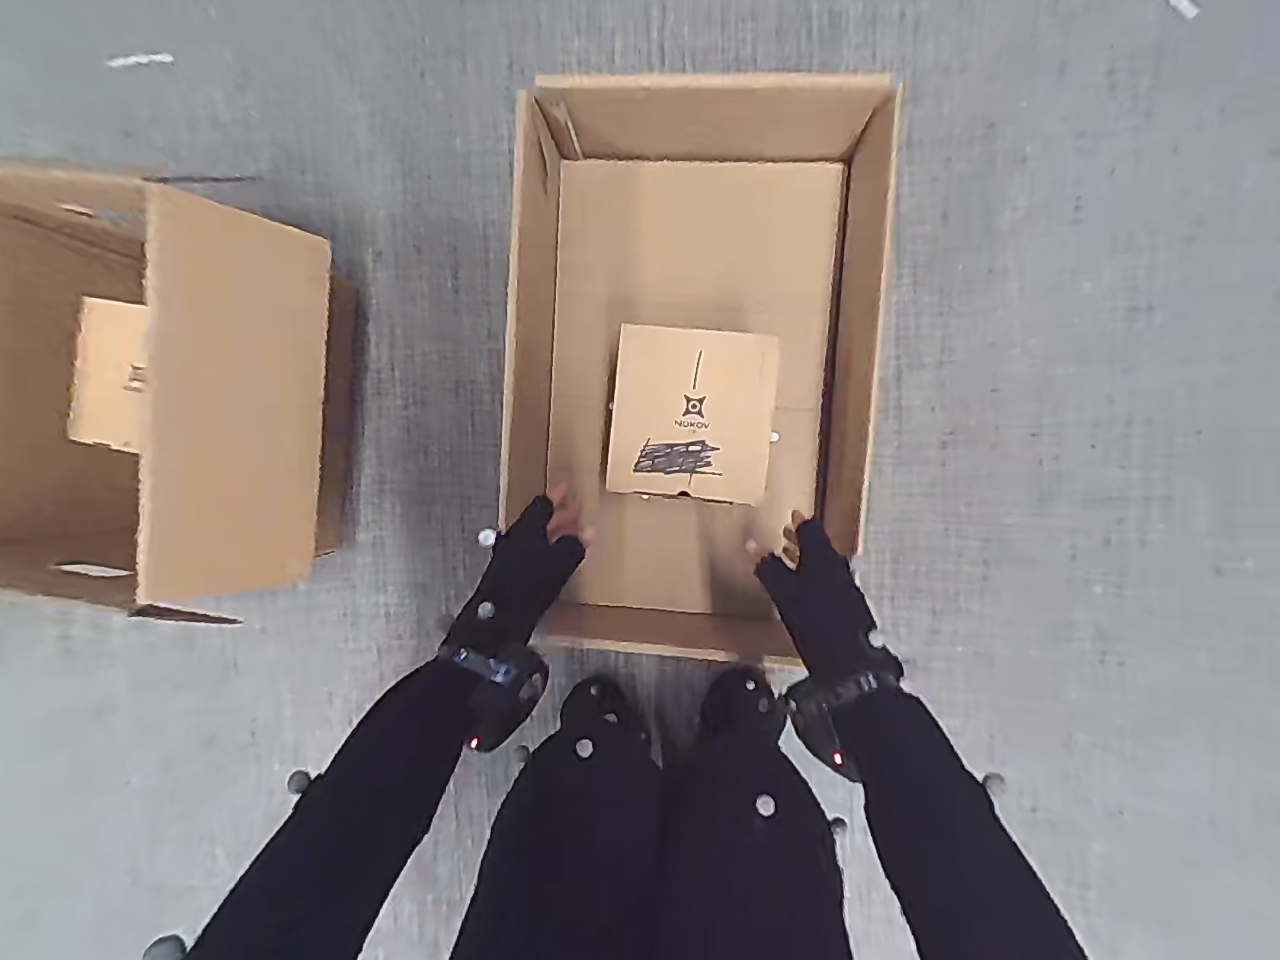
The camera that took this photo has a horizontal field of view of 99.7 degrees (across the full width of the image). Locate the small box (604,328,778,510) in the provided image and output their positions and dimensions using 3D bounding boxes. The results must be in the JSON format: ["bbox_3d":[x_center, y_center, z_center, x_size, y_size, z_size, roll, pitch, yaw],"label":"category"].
[{"bbox_3d":[0.059,-0.066,0.638,0.168,0.176,0.179,6,91,5],"label":"small box"}]
